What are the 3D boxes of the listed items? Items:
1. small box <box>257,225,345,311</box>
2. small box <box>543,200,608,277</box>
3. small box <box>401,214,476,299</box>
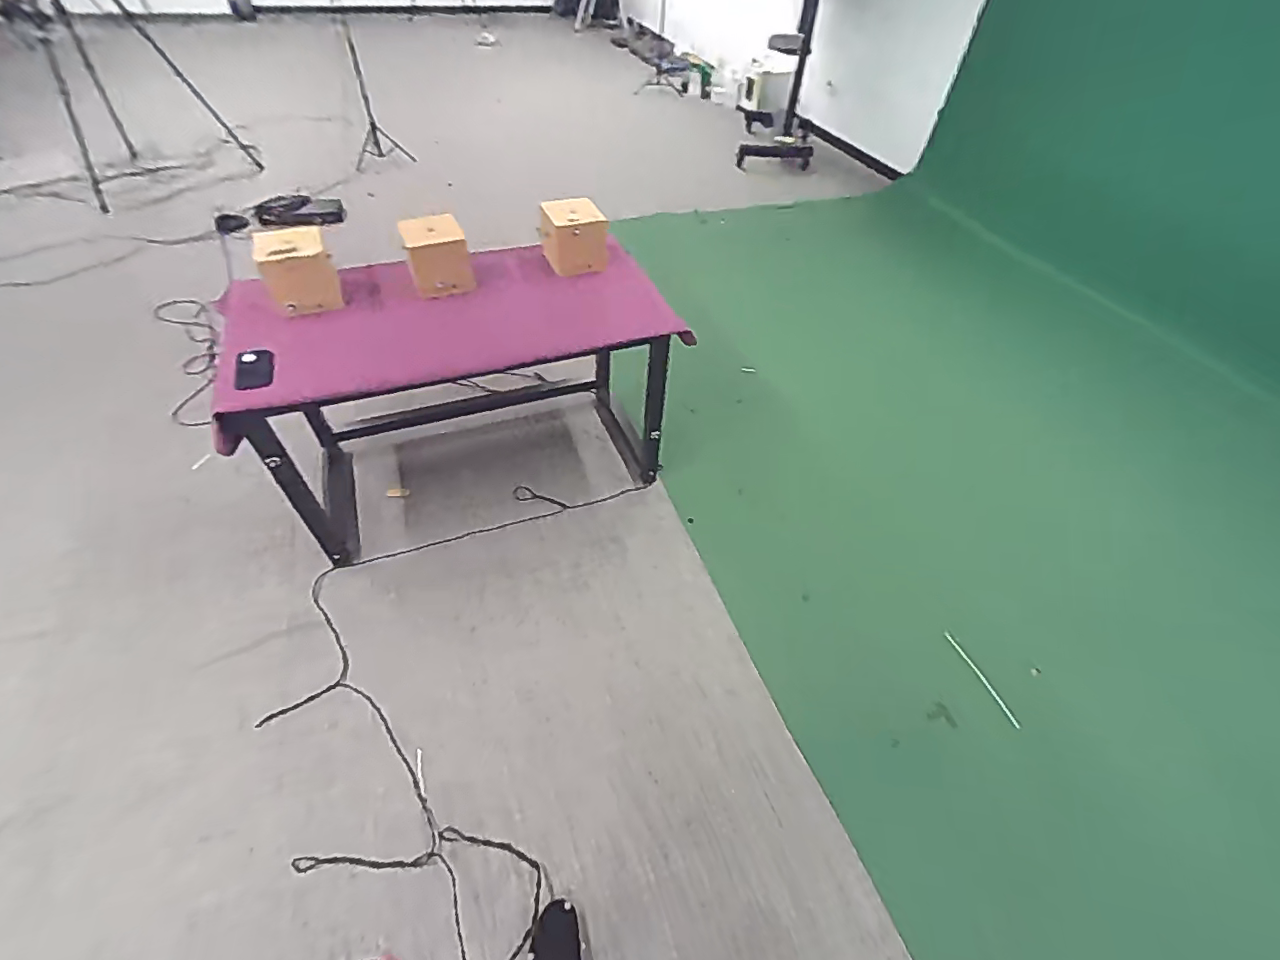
[{"bbox_3d":[-0.952,-0.592,1.527,0.168,0.176,0.179,-17,52,-19],"label":"small box"},{"bbox_3d":[-0.211,-0.784,1.757,0.168,0.176,0.179,-16,52,-17],"label":"small box"},{"bbox_3d":[-0.605,-0.673,1.630,0.168,0.176,0.179,-18,53,-18],"label":"small box"}]
